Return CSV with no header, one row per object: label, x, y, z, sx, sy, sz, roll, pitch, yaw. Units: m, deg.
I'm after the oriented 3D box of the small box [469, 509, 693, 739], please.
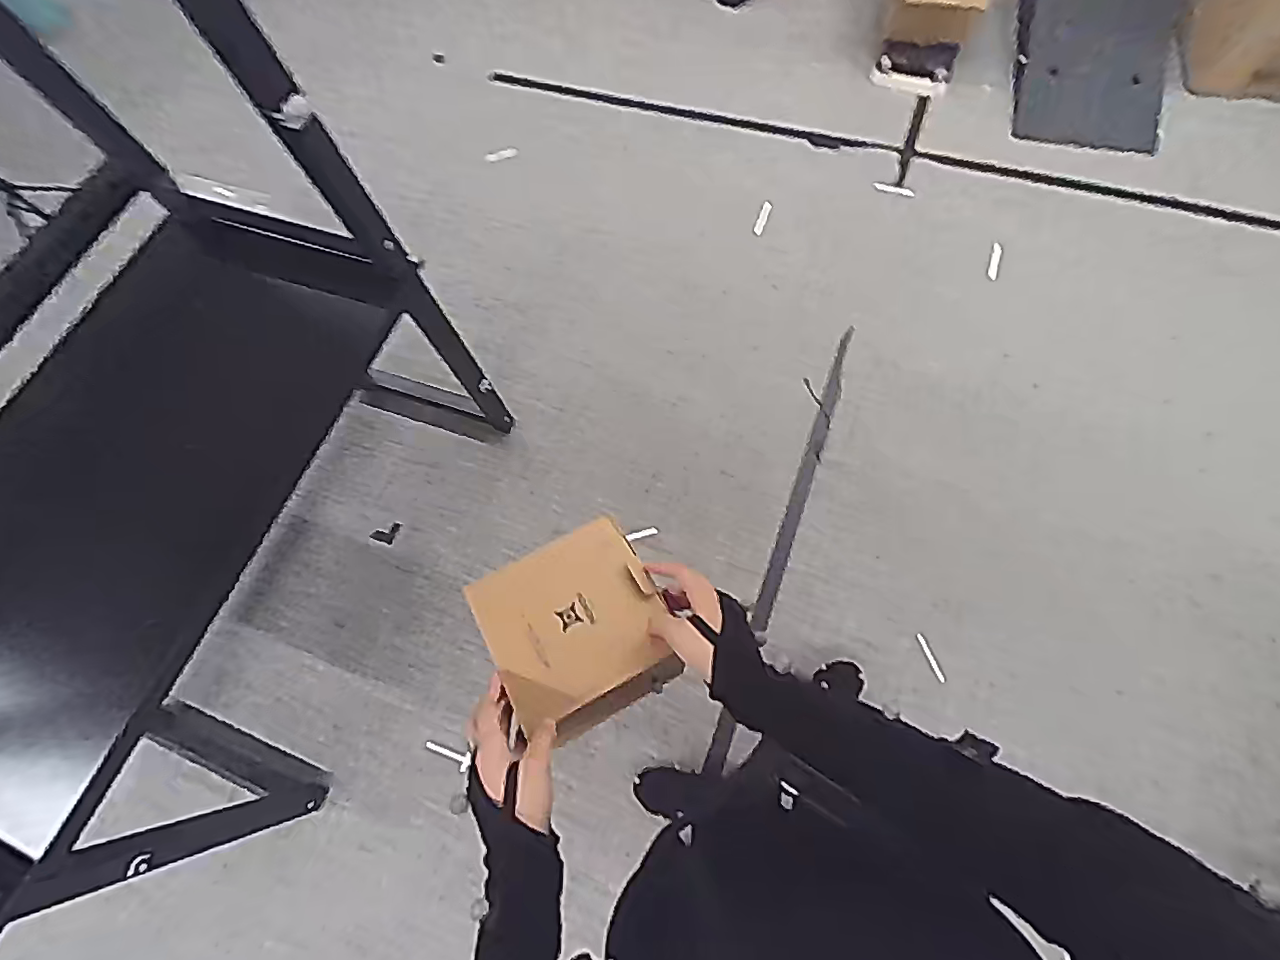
small box,-0.061,0.166,0.604,0.179,0.176,0.168,-27,63,-12
